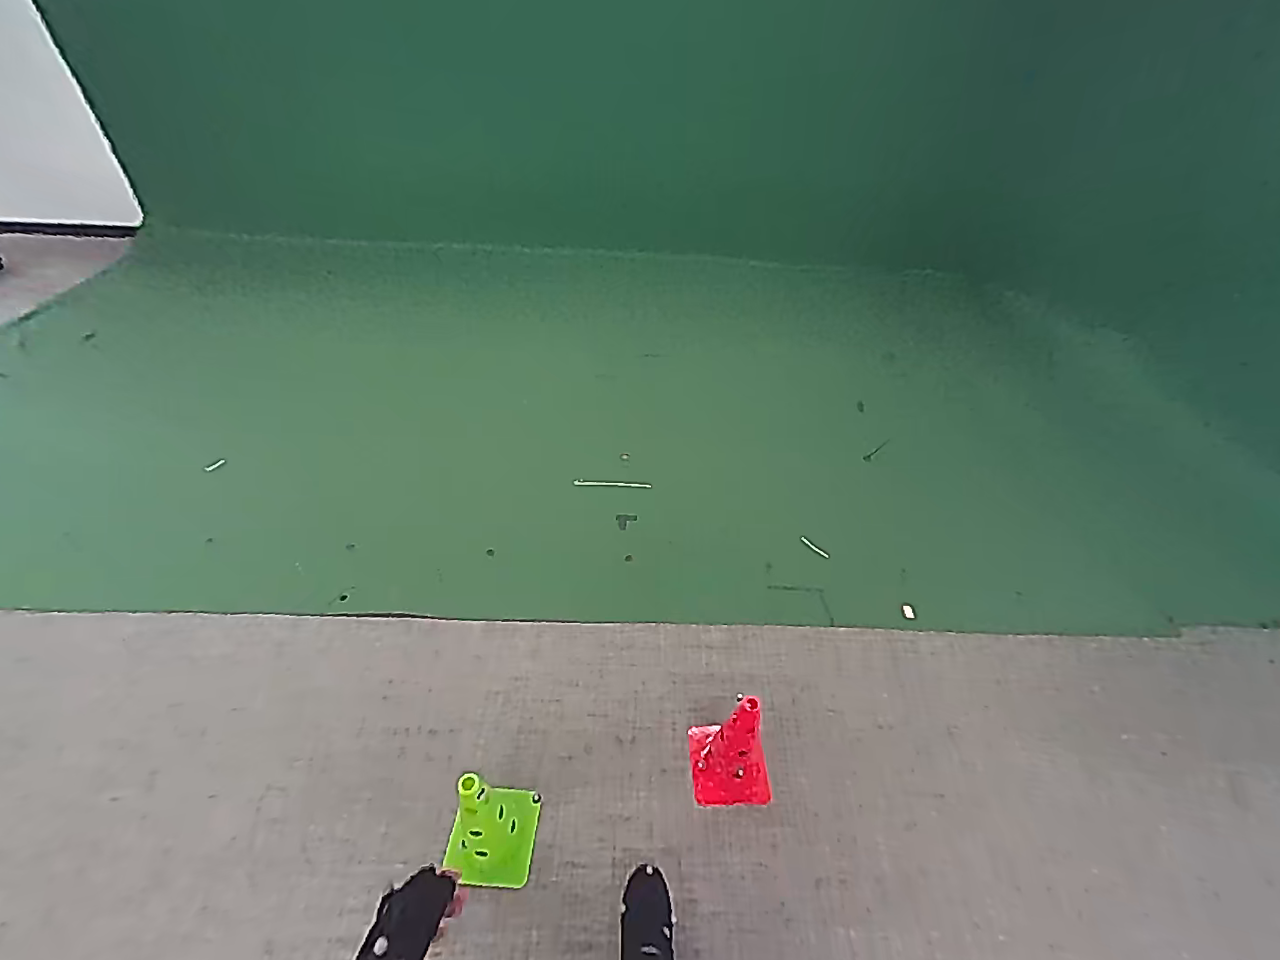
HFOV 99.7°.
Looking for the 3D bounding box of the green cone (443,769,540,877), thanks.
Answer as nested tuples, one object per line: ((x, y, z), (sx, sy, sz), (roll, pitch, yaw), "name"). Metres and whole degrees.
((-0.346, 0.708, 1.182), (0.200, 0.368, 0.202), (3, 44, 0), "green cone")
